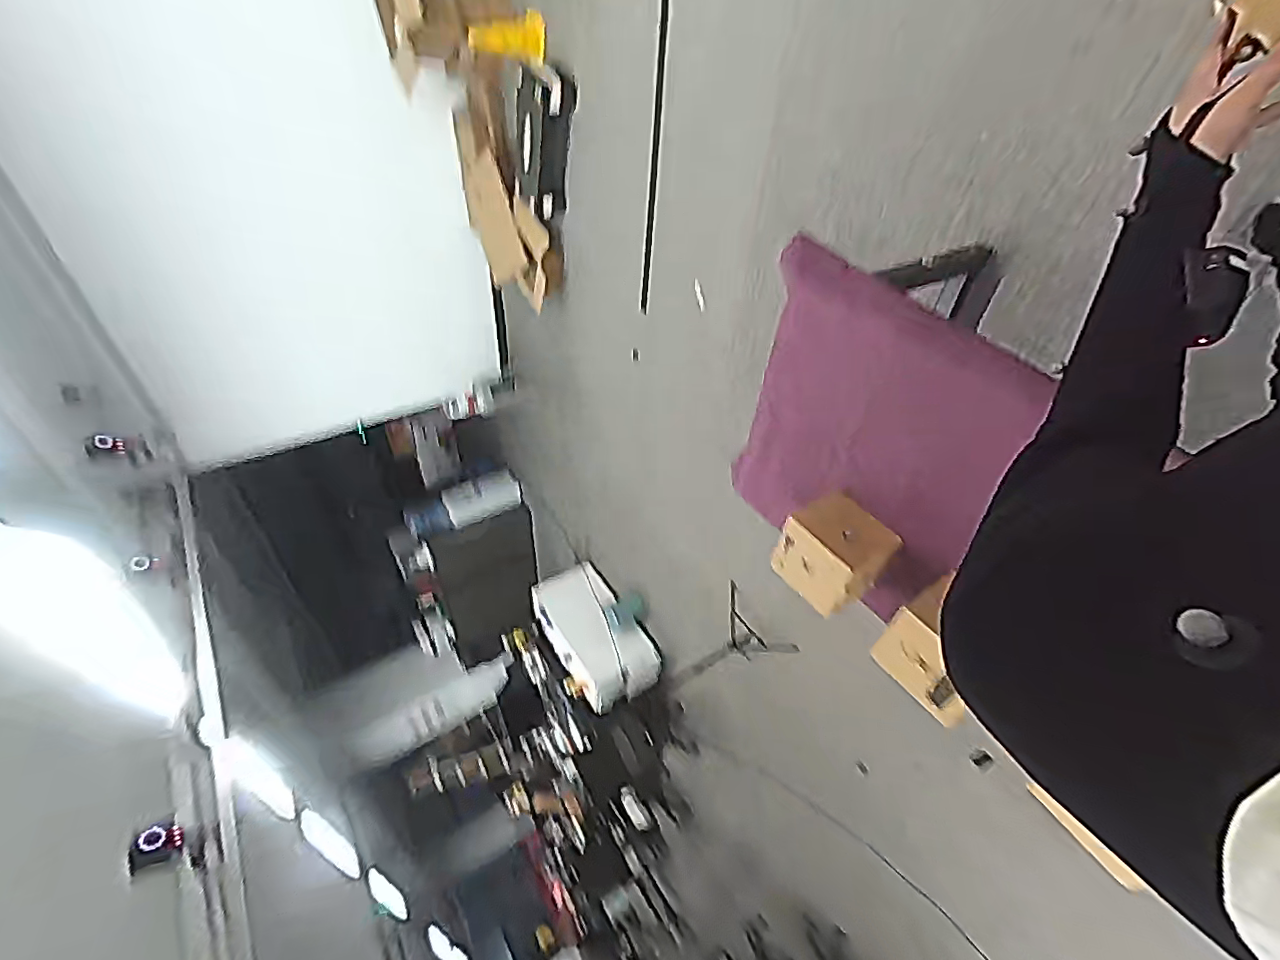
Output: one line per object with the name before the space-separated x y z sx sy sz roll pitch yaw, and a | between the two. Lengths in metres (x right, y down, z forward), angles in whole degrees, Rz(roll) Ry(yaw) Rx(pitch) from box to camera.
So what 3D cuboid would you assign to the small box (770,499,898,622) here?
small box | 0.422 0.168 1.178 0.179 0.176 0.168 45 143 34
